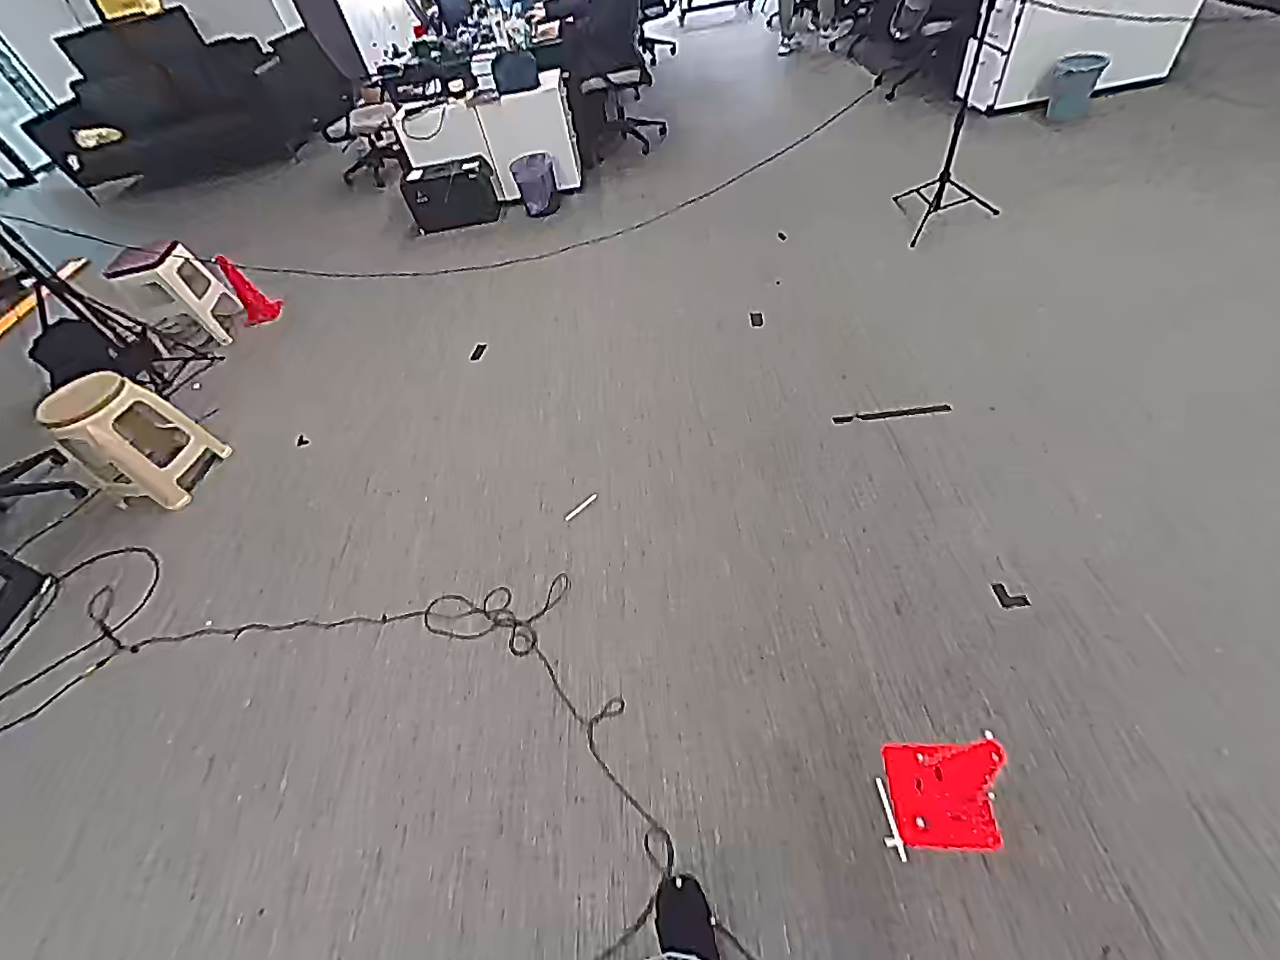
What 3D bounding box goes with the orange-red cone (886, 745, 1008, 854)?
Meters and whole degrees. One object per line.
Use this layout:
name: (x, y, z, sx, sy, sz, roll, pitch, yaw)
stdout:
orange-red cone: (0.621, 0.572, 1.034, 0.199, 0.360, 0.198, -1, 50, 9)
